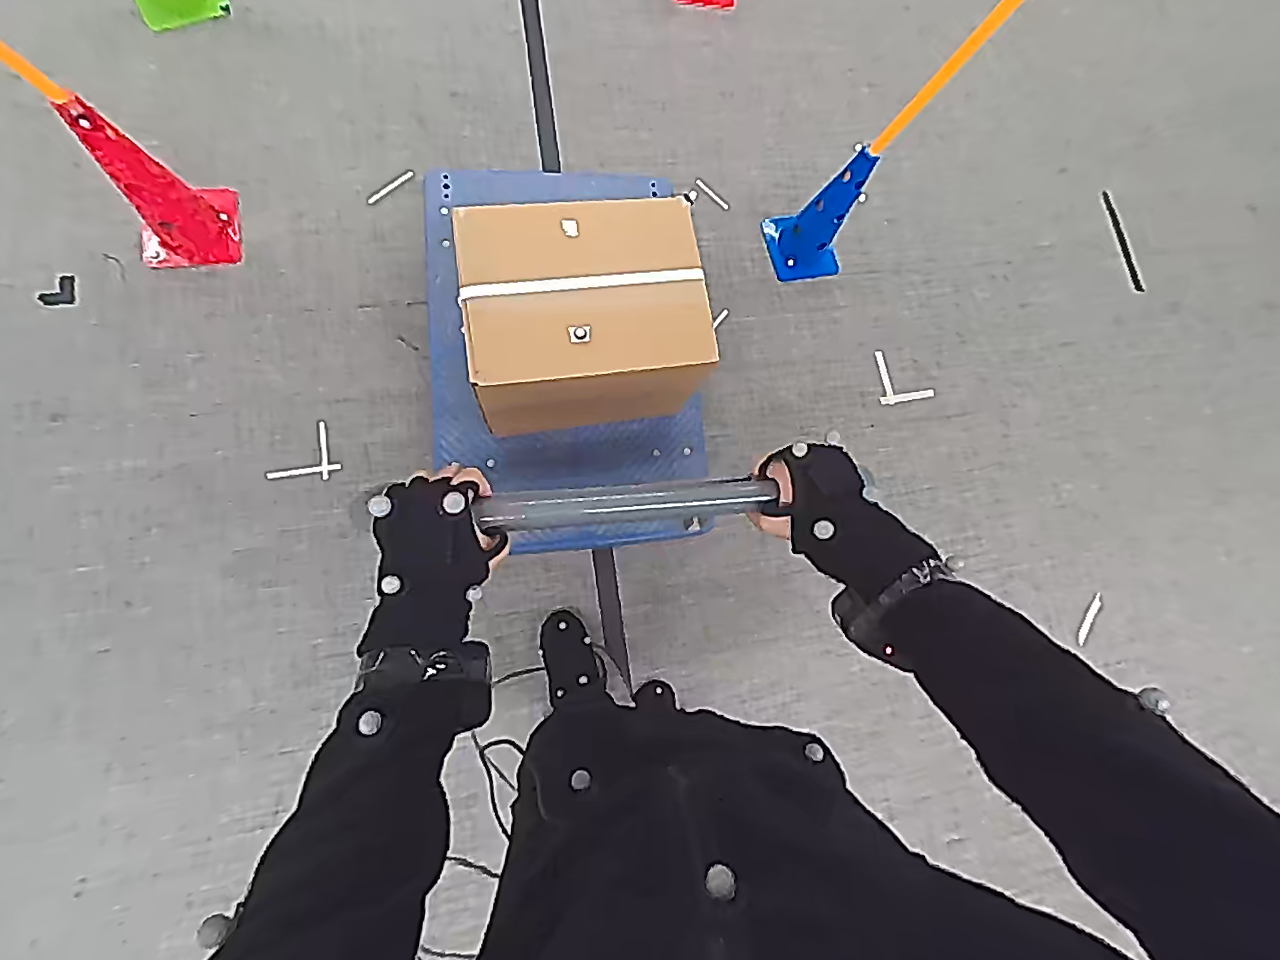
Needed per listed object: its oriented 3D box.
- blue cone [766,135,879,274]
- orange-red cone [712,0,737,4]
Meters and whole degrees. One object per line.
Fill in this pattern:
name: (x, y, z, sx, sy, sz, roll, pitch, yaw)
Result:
blue cone: (0.493, -0.714, 1.390, 0.193, 0.380, 0.192, -11, 81, -12)
orange-red cone: (0.232, -1.581, 1.489, 0.199, 0.360, 0.198, -1, 80, -11)
